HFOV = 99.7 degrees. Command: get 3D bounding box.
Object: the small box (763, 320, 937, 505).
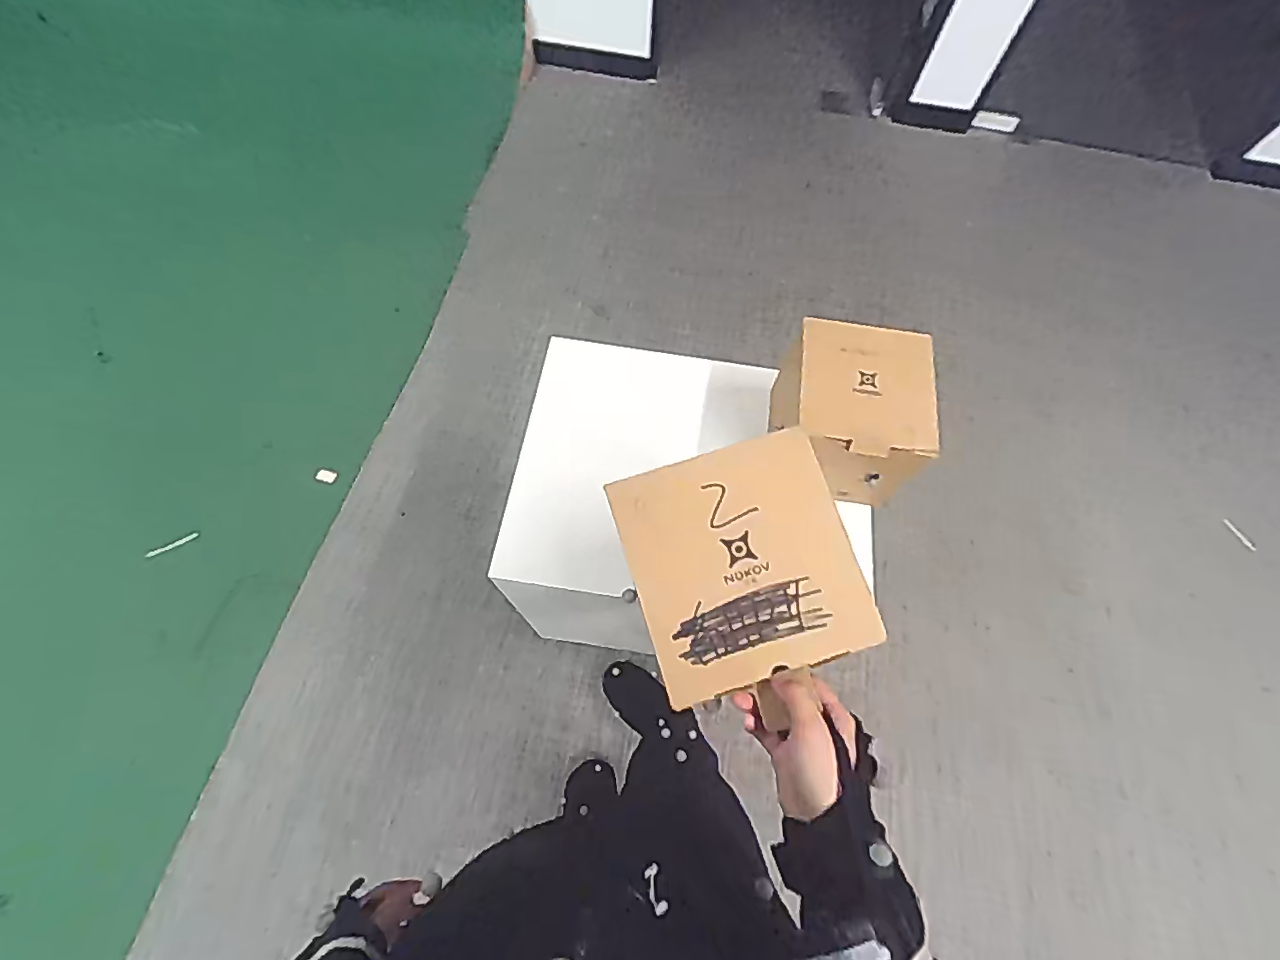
[{"bbox_3d":[0.268,-0.081,0.723,0.168,0.176,0.179,9,65,1],"label":"small box"}]
